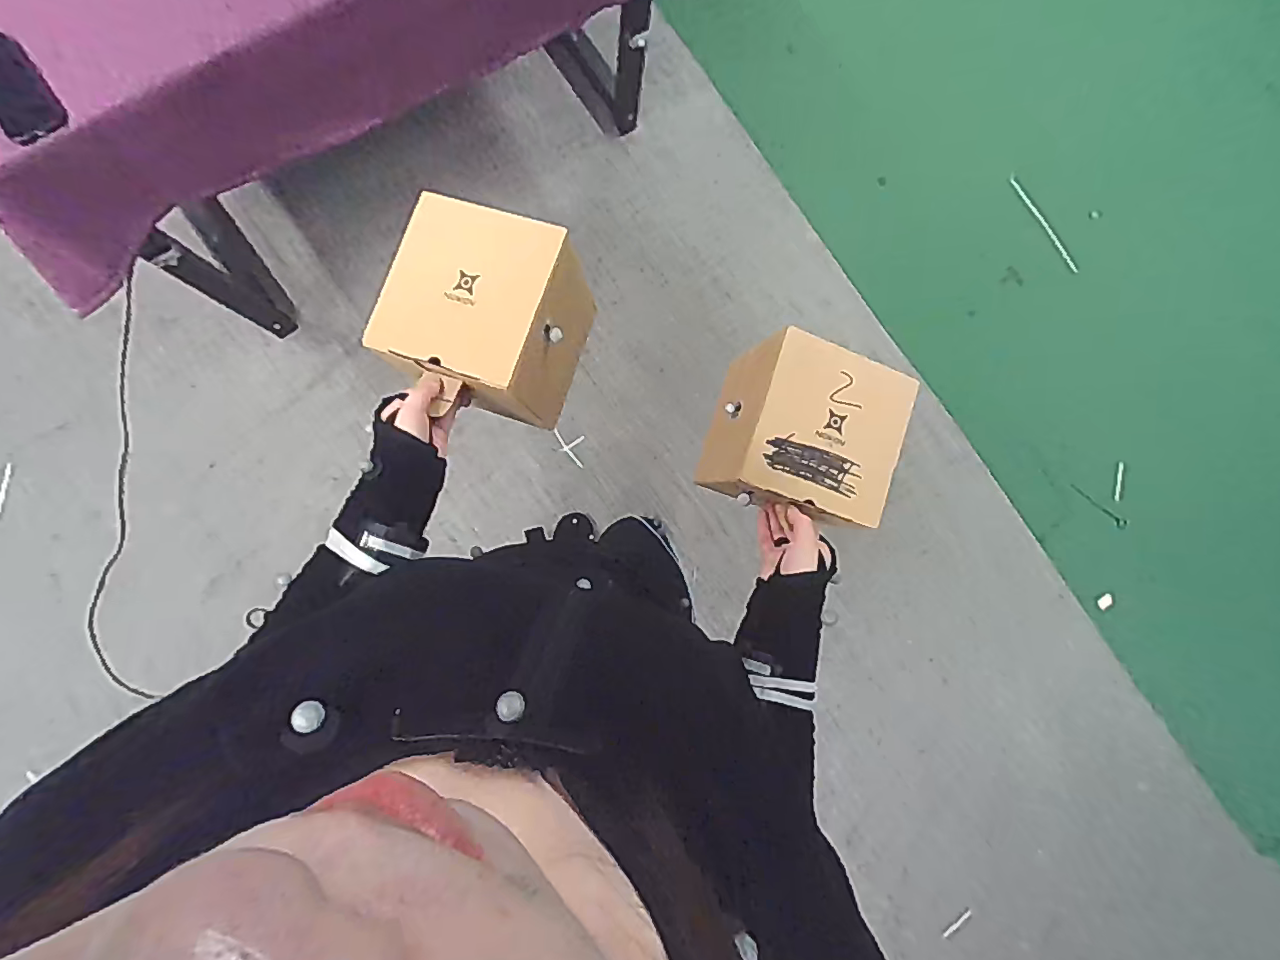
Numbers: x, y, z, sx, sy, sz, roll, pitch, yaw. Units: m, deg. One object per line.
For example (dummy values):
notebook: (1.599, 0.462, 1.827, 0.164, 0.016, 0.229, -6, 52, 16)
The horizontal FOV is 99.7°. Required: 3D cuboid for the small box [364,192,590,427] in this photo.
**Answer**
small box: (-0.166, -0.180, 0.617, 0.168, 0.176, 0.179, 18, 85, 8)
